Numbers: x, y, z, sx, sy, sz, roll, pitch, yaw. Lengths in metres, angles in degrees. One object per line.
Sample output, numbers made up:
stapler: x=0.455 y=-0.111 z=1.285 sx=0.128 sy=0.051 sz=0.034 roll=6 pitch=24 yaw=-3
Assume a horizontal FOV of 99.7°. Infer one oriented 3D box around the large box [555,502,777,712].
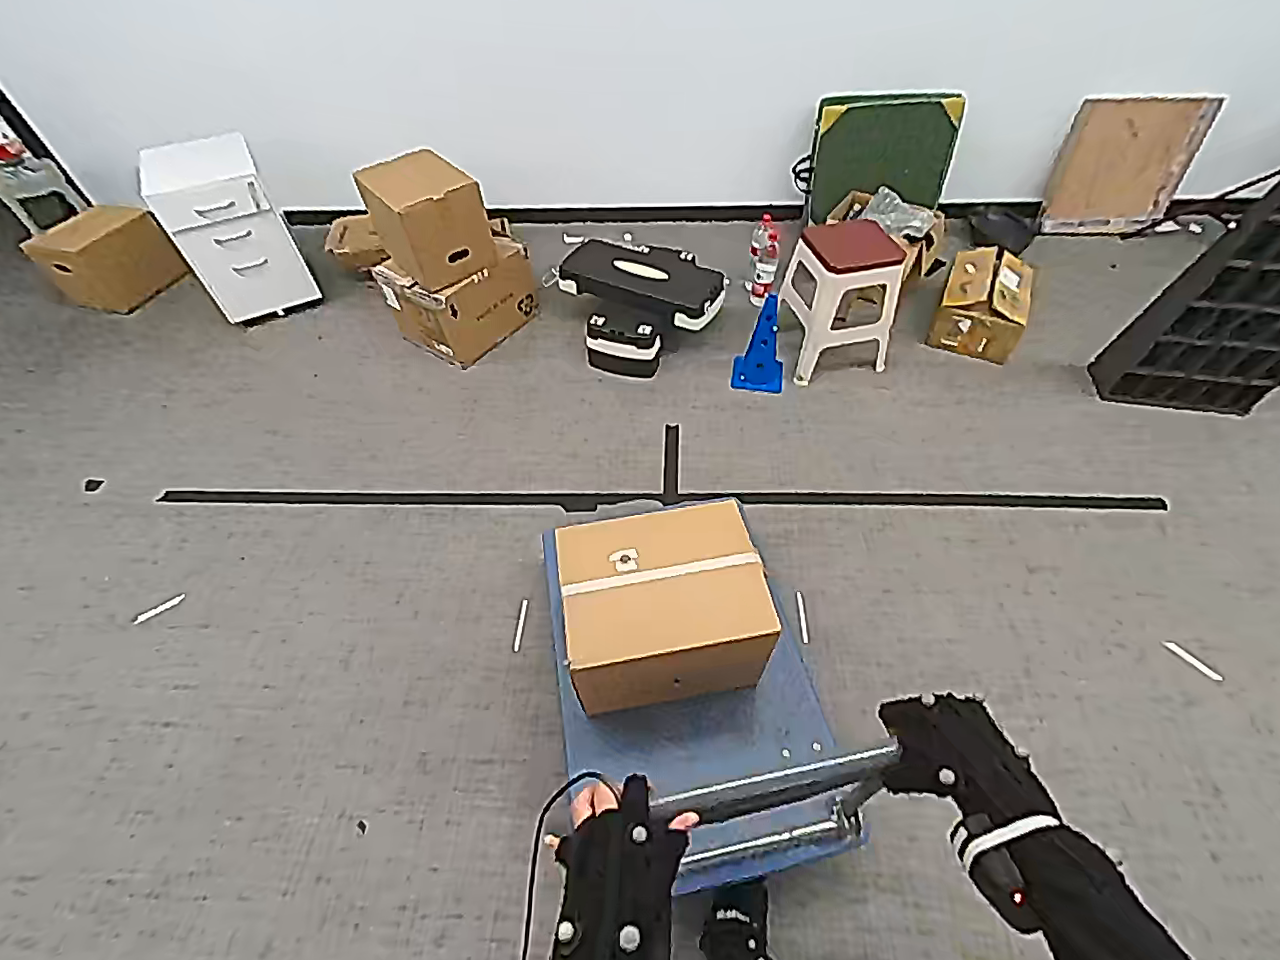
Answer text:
large box: x=0.045 y=0.289 z=1.213 sx=0.408 sy=0.320 sz=0.320 roll=-10 pitch=52 yaw=-5
